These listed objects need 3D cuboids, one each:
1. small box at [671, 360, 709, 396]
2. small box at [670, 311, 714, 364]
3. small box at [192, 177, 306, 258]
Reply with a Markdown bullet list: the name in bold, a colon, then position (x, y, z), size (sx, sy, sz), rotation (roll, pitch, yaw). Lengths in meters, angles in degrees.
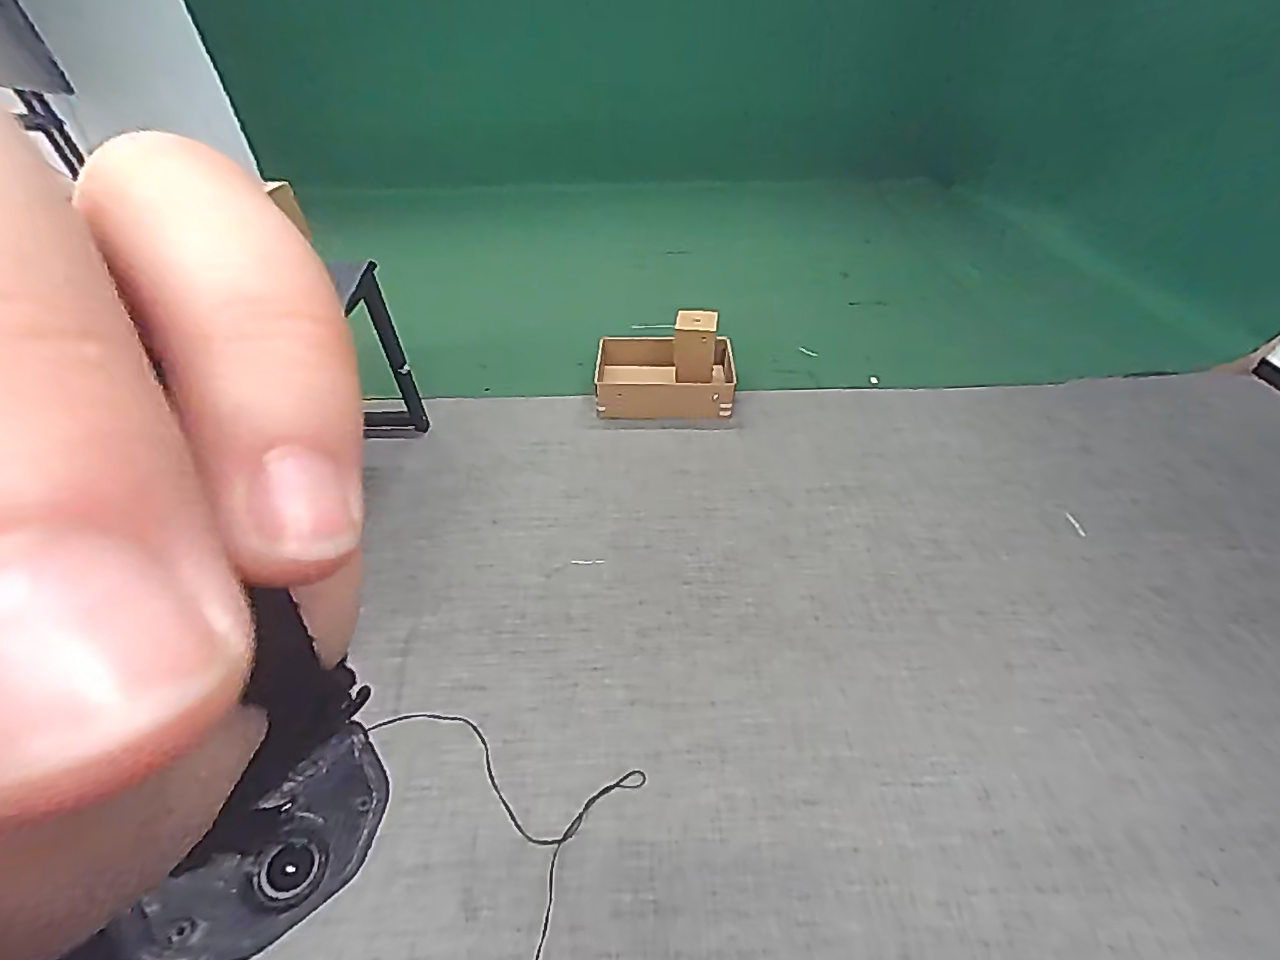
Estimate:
- **small box**: position (0.231, -0.509, 2.493), size (0.168, 0.176, 0.179), rotation (5, 46, 7)
- **small box**: position (0.229, -0.623, 2.374), size (0.179, 0.176, 0.168), rotation (5, 45, 7)
- **small box**: position (-1.094, -0.742, 1.533), size (0.168, 0.176, 0.179), rotation (4, 45, 5)
